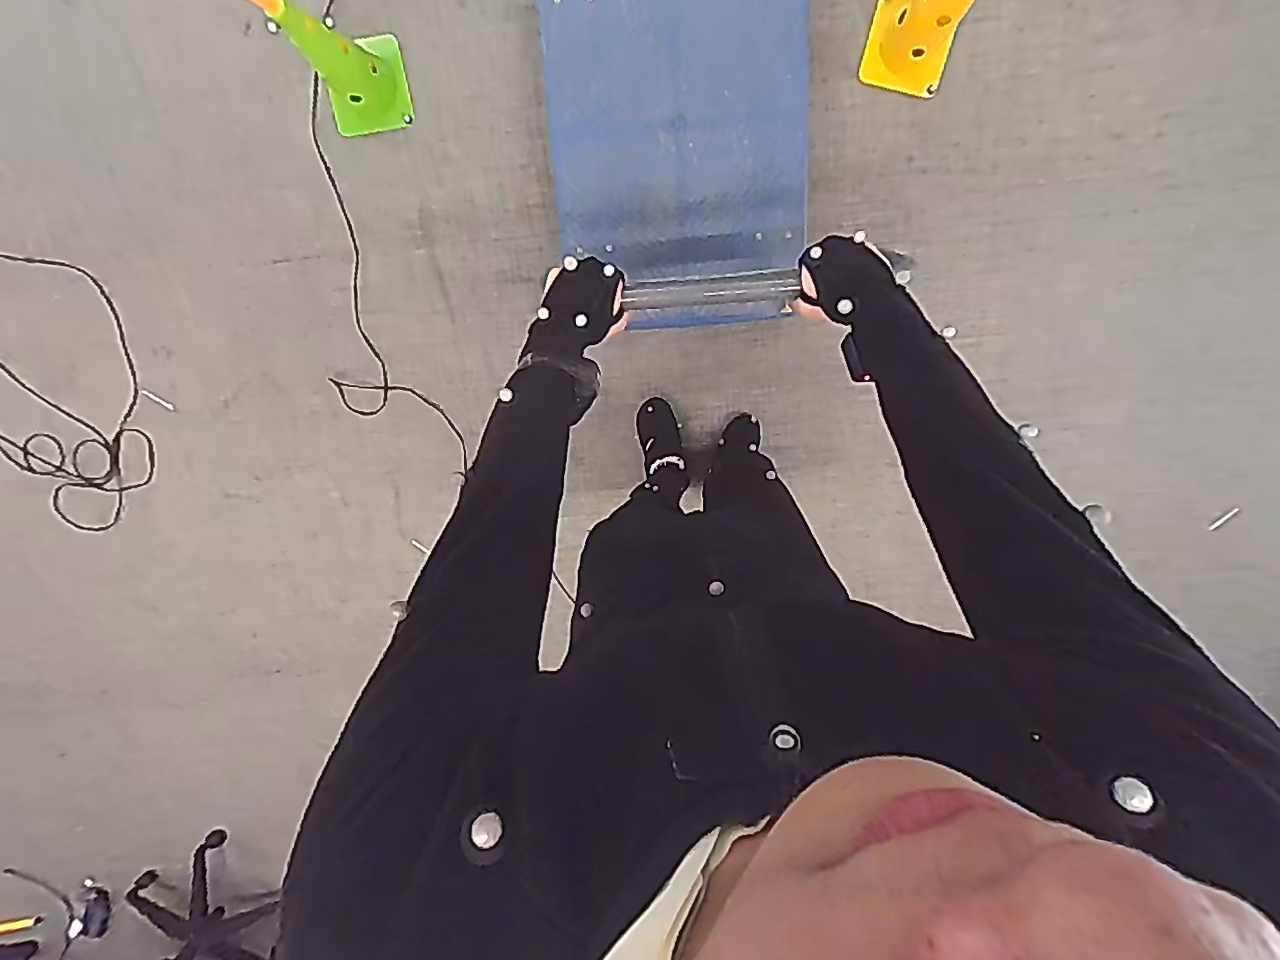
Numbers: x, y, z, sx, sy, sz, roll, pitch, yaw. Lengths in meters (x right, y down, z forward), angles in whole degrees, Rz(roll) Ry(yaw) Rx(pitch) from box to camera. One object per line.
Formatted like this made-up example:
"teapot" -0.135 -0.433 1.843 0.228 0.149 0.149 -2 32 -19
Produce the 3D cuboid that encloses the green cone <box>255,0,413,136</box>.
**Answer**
"green cone" -0.685 -0.935 1.177 0.202 0.368 0.200 -8 104 5
